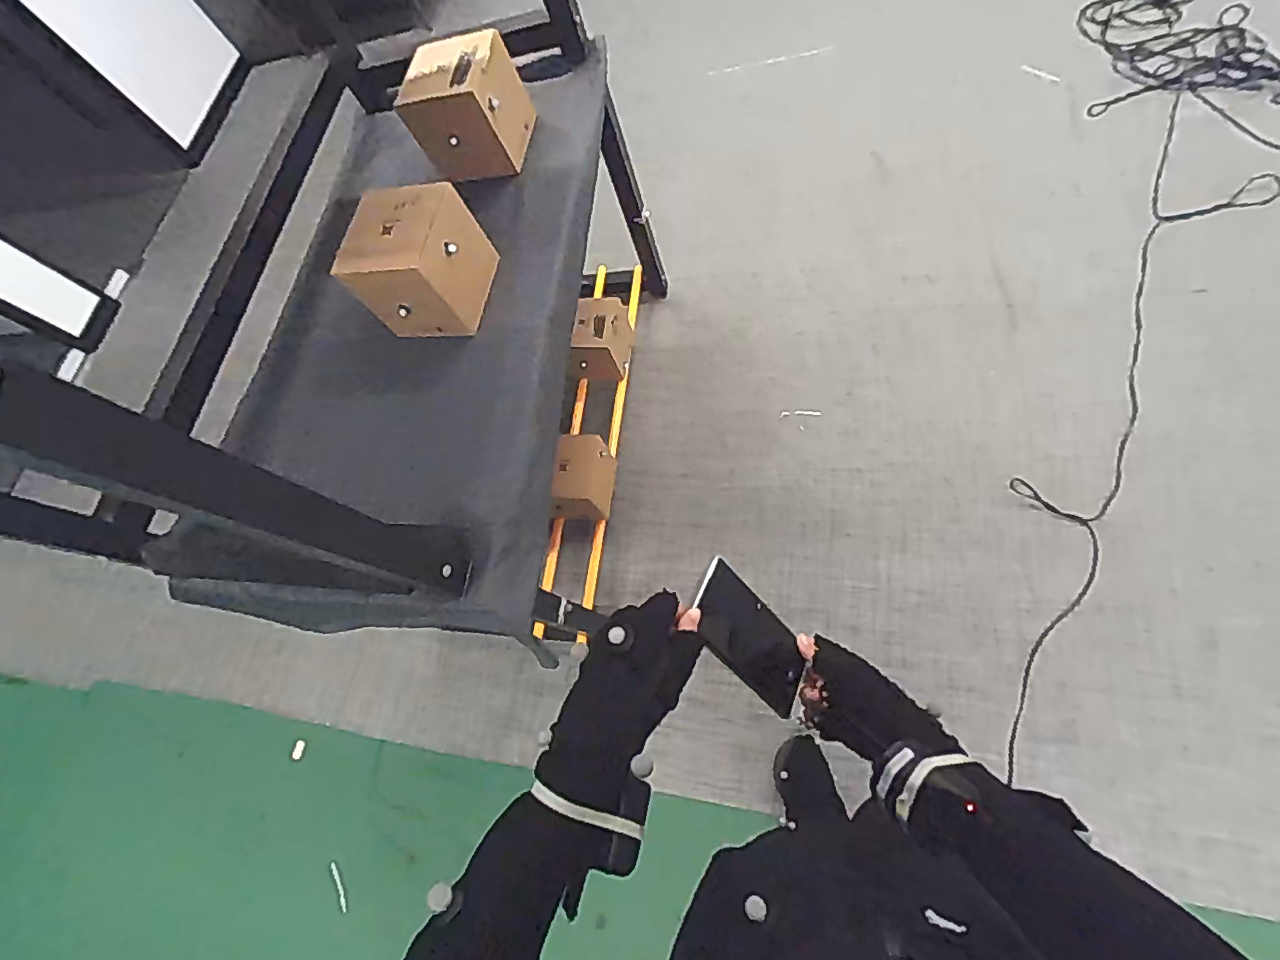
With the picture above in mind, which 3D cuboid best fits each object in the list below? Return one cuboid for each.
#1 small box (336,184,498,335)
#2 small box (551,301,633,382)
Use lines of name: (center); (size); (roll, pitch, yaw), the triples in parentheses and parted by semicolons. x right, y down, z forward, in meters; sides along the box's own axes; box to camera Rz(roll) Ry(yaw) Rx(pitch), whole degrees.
small box: (-0.366, -0.364, 0.921); (0.168, 0.176, 0.179); (4, 69, 17)
small box: (-0.131, -0.398, 1.565); (0.179, 0.176, 0.168); (4, 69, 17)
